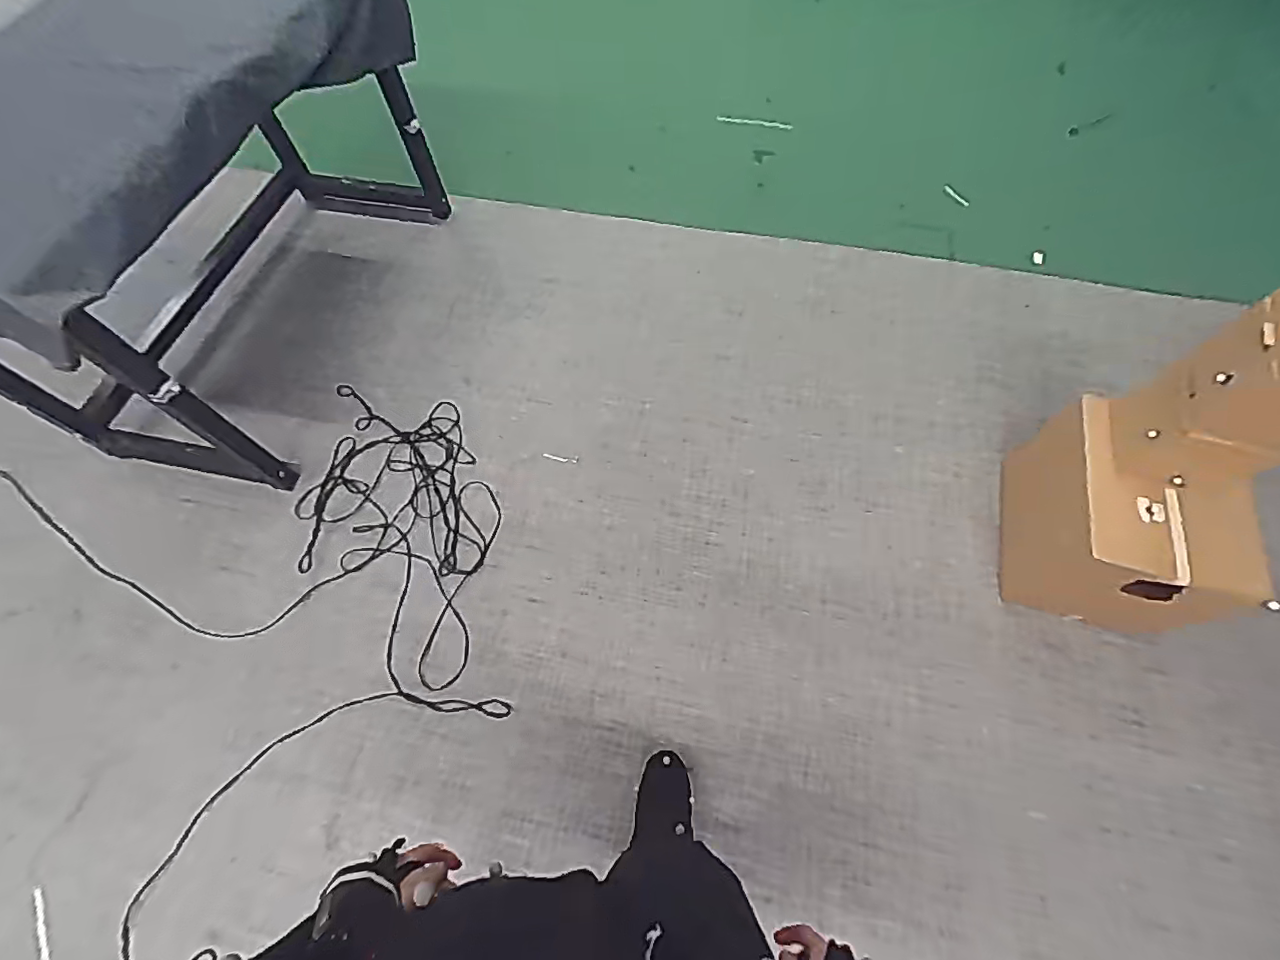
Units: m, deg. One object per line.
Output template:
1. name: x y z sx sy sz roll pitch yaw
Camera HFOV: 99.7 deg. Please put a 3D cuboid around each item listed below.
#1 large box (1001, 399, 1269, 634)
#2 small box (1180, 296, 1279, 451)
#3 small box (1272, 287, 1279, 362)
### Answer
1. large box: 1.061 0.089 1.222 0.320 0.320 0.408 14 66 9
2. small box: 1.054 -0.168 0.896 0.179 0.176 0.168 17 68 9
3. small box: 1.051 -0.239 0.749 0.168 0.176 0.179 19 68 10
